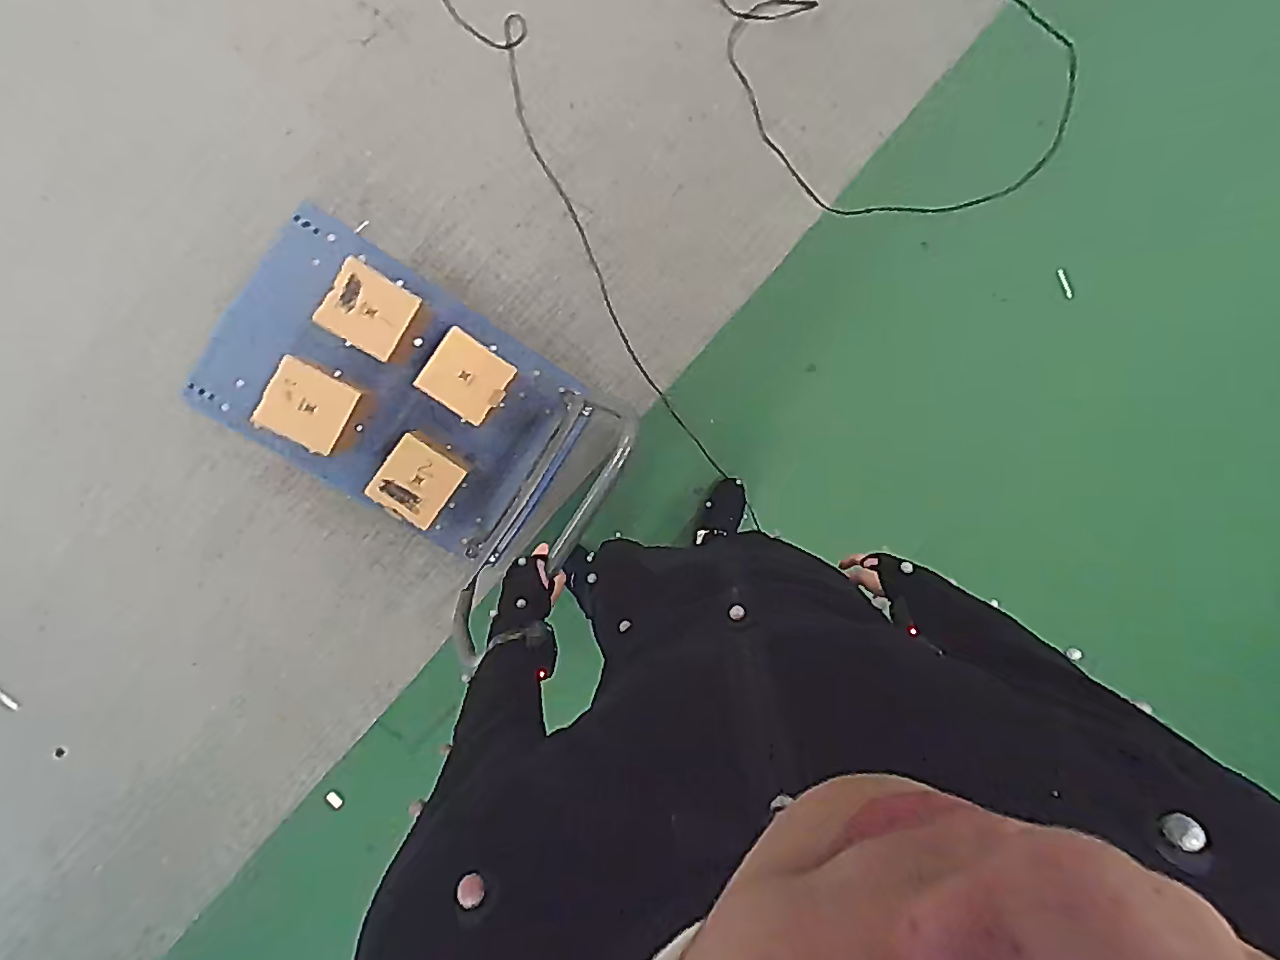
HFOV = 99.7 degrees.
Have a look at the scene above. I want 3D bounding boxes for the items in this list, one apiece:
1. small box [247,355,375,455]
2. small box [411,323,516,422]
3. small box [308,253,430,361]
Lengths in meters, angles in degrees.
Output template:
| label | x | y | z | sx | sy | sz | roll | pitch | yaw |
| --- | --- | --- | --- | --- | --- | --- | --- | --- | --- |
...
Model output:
| label | x | y | z | sx | sy | sz | roll | pitch | yaw |
| --- | --- | --- | --- | --- | --- | --- | --- | --- | --- |
| small box | -0.759 | -0.176 | 1.272 | 0.179 | 0.176 | 0.168 | 28 | 91 | -13 |
| small box | -0.423 | -0.256 | 1.324 | 0.179 | 0.176 | 0.168 | 34 | 91 | -14 |
| small box | -0.623 | -0.392 | 1.266 | 0.179 | 0.176 | 0.168 | 30 | 92 | -14 |
